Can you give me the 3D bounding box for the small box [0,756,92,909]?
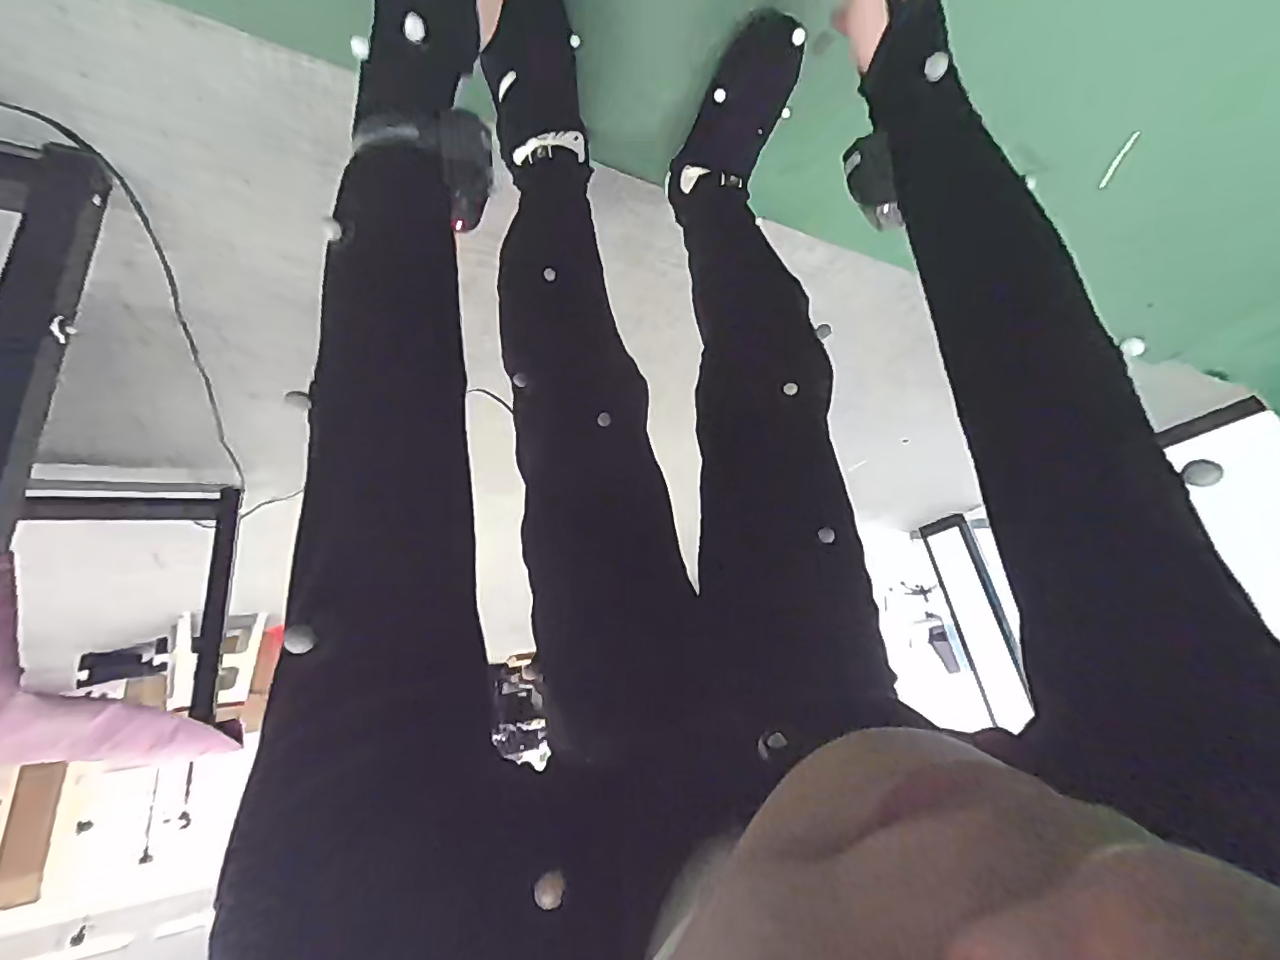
[{"bbox_3d":[-0.888,0.478,0.730,0.179,0.176,0.168,6,153,-30],"label":"small box"}]
